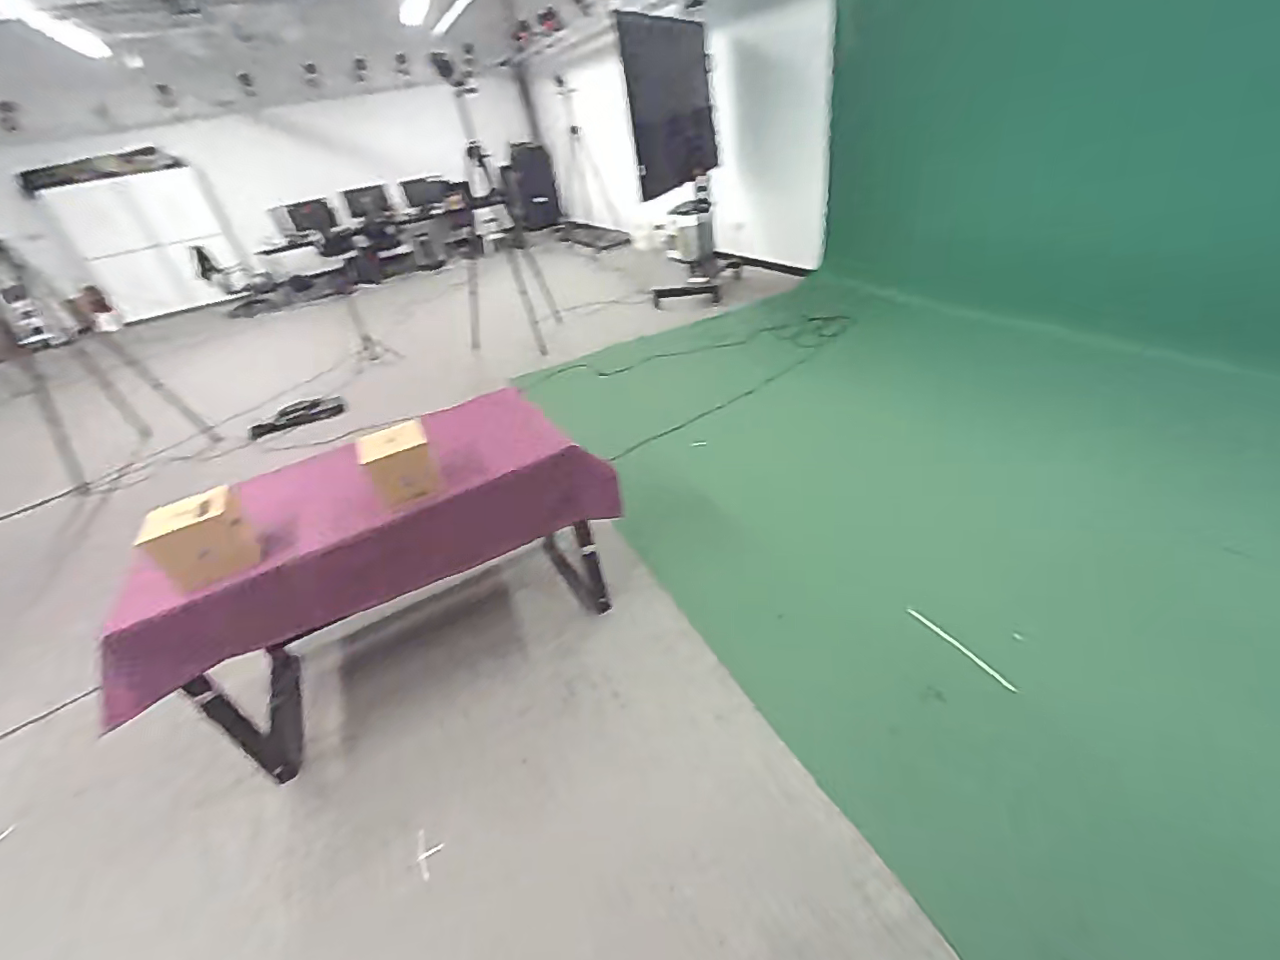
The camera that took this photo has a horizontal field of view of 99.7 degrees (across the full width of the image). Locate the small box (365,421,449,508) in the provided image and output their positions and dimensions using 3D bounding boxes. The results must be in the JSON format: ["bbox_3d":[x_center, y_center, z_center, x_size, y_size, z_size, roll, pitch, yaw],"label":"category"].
[{"bbox_3d":[-0.656,-0.040,1.529,0.168,0.176,0.179,-22,35,-17],"label":"small box"}]
